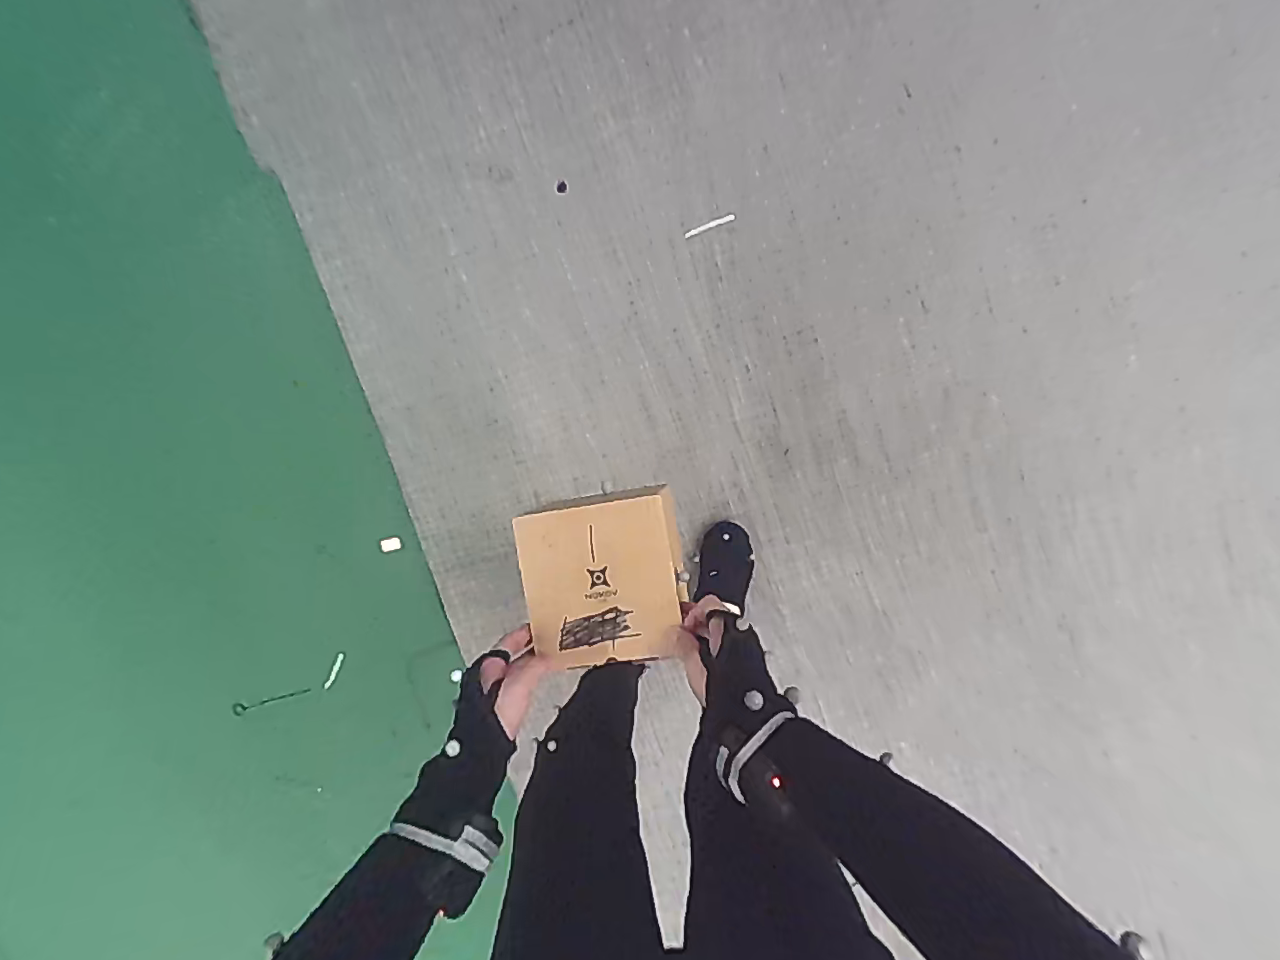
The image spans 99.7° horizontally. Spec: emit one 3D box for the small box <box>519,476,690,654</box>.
[{"bbox_3d":[-0.031,0.094,0.664,0.168,0.176,0.179,-8,91,7],"label":"small box"}]
